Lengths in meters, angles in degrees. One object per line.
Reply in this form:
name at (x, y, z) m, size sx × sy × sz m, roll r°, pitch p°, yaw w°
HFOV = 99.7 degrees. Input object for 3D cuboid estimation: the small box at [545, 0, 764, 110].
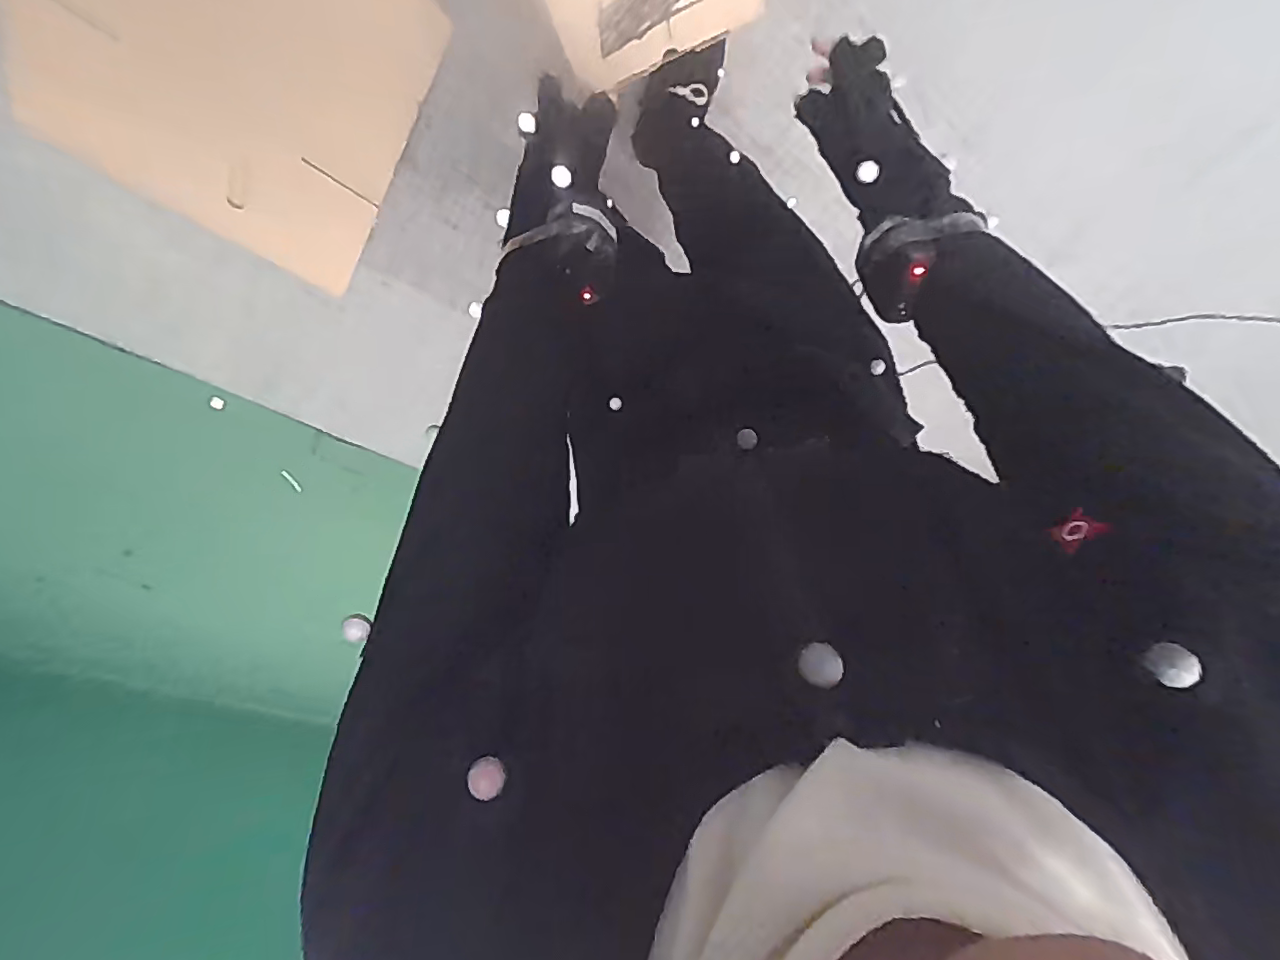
small box at (-0.001, -0.473, 0.464) m, size 0.168 × 0.176 × 0.179 m, roll -16°, pitch 139°, yaw 19°
